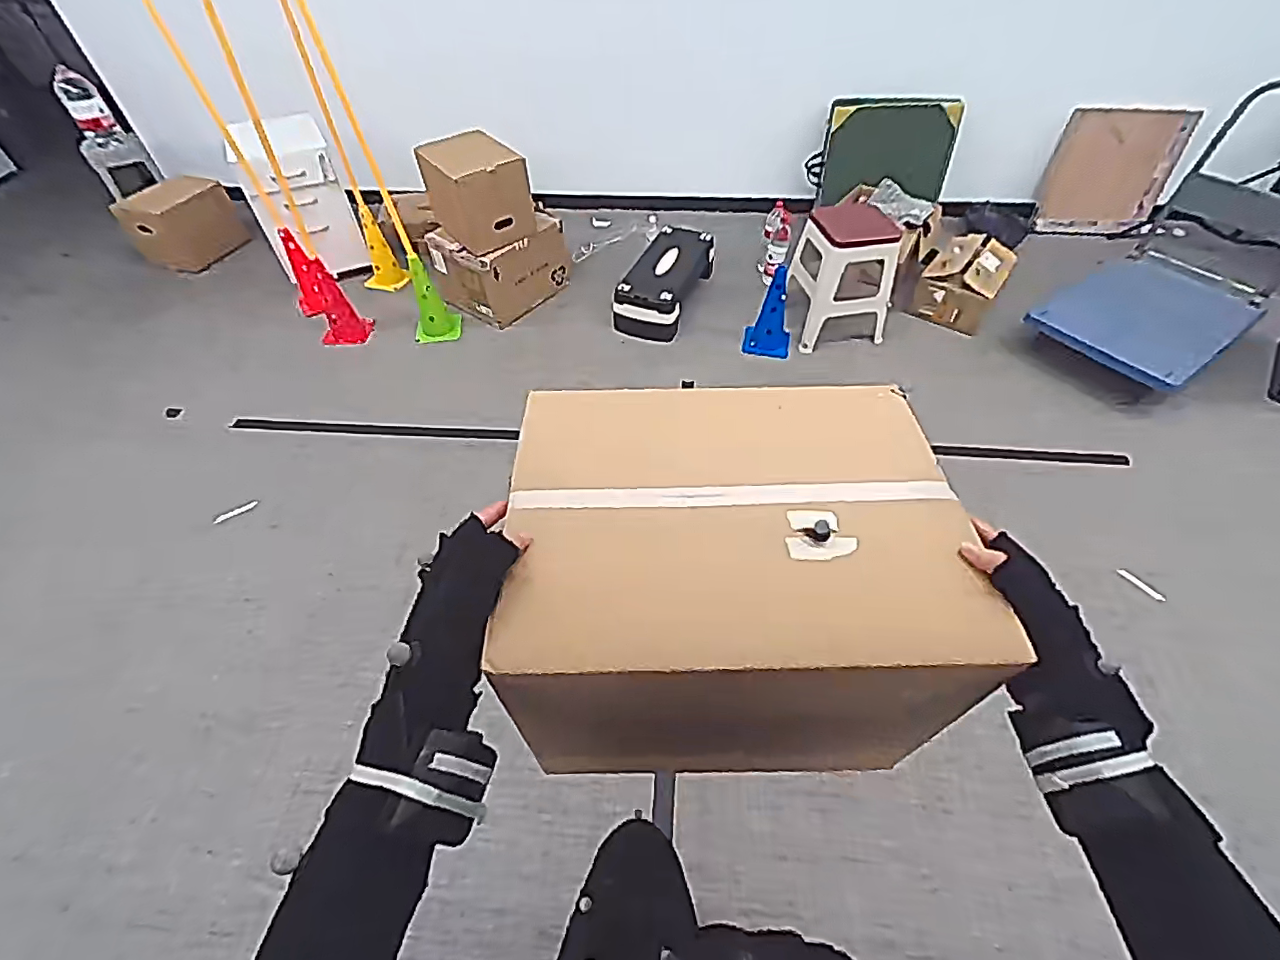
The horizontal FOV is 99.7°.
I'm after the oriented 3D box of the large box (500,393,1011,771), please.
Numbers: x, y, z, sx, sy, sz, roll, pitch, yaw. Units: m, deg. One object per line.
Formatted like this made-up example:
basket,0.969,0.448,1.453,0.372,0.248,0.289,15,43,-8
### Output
large box,0.083,0.120,0.618,0.408,0.320,0.320,-1,50,-1
